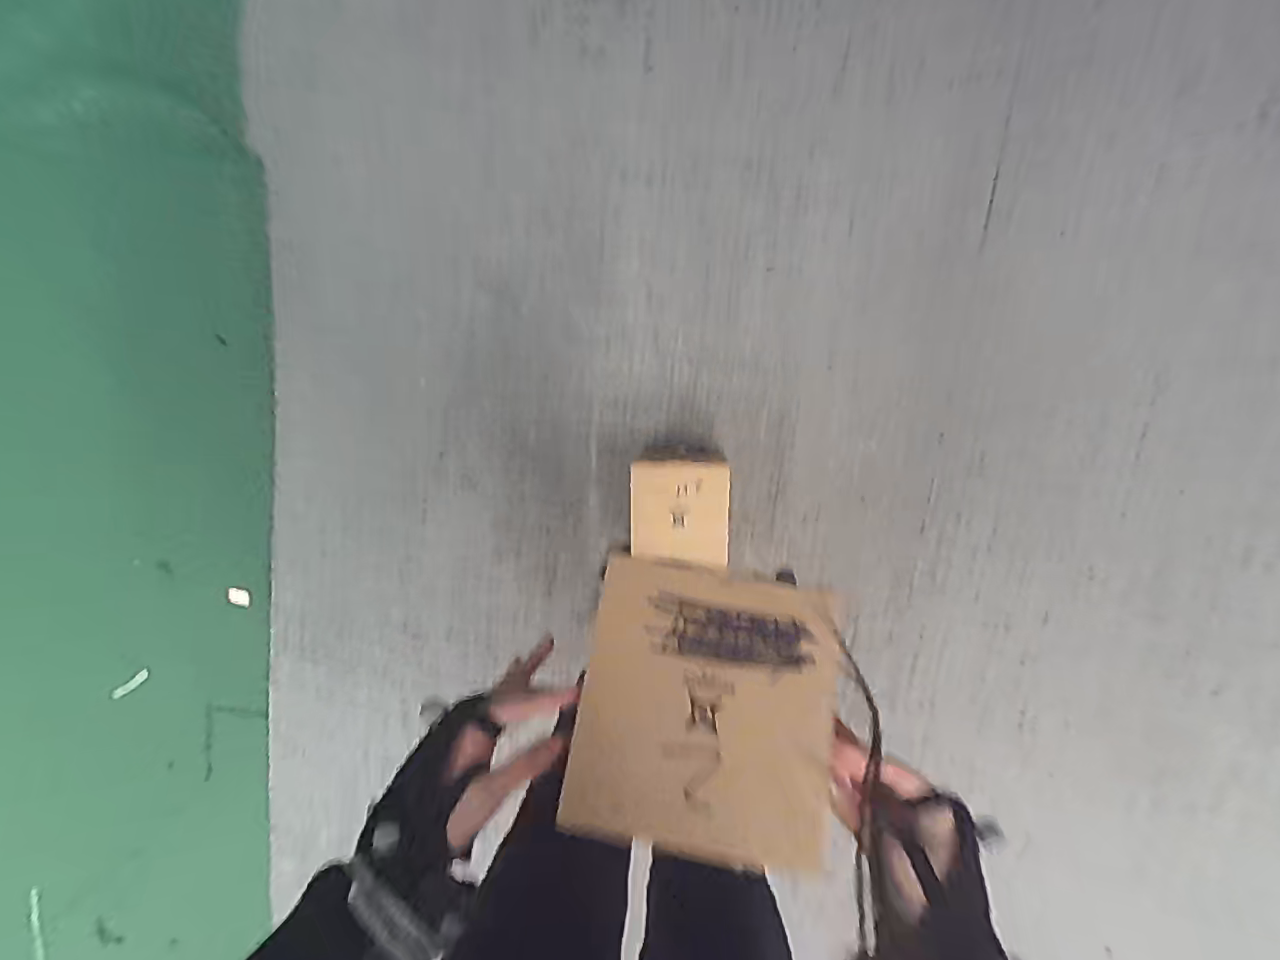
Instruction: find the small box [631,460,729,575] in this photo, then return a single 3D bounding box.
[{"bbox_3d":[0.074,0.061,0.986,0.168,0.176,0.179,1,99,6],"label":"small box"}]
